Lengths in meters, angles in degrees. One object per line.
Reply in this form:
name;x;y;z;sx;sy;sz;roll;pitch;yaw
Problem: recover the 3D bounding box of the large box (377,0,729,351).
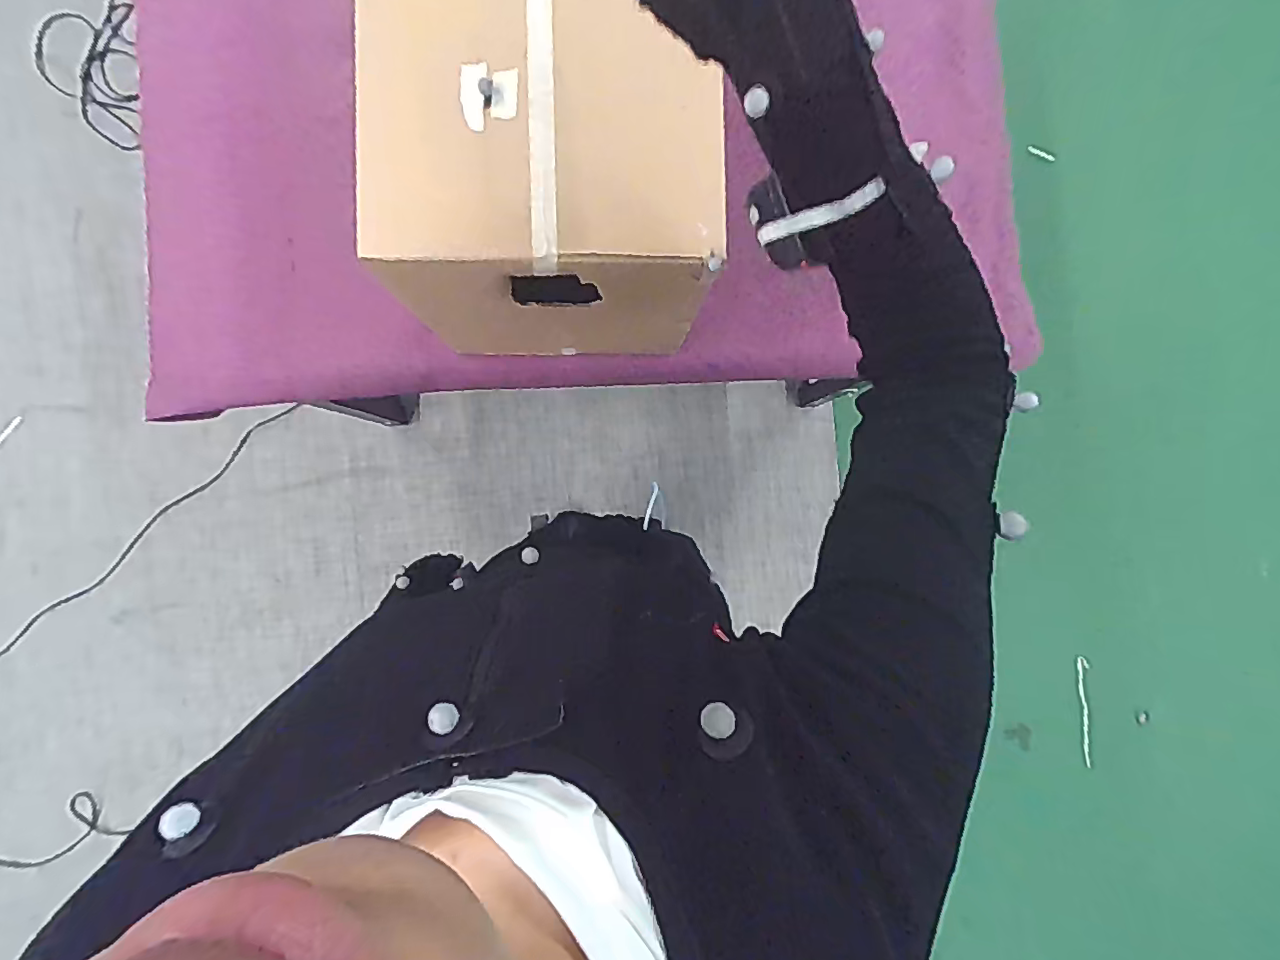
large box;-0.087;-0.387;0.630;0.320;0.320;0.408;0;89;-4
